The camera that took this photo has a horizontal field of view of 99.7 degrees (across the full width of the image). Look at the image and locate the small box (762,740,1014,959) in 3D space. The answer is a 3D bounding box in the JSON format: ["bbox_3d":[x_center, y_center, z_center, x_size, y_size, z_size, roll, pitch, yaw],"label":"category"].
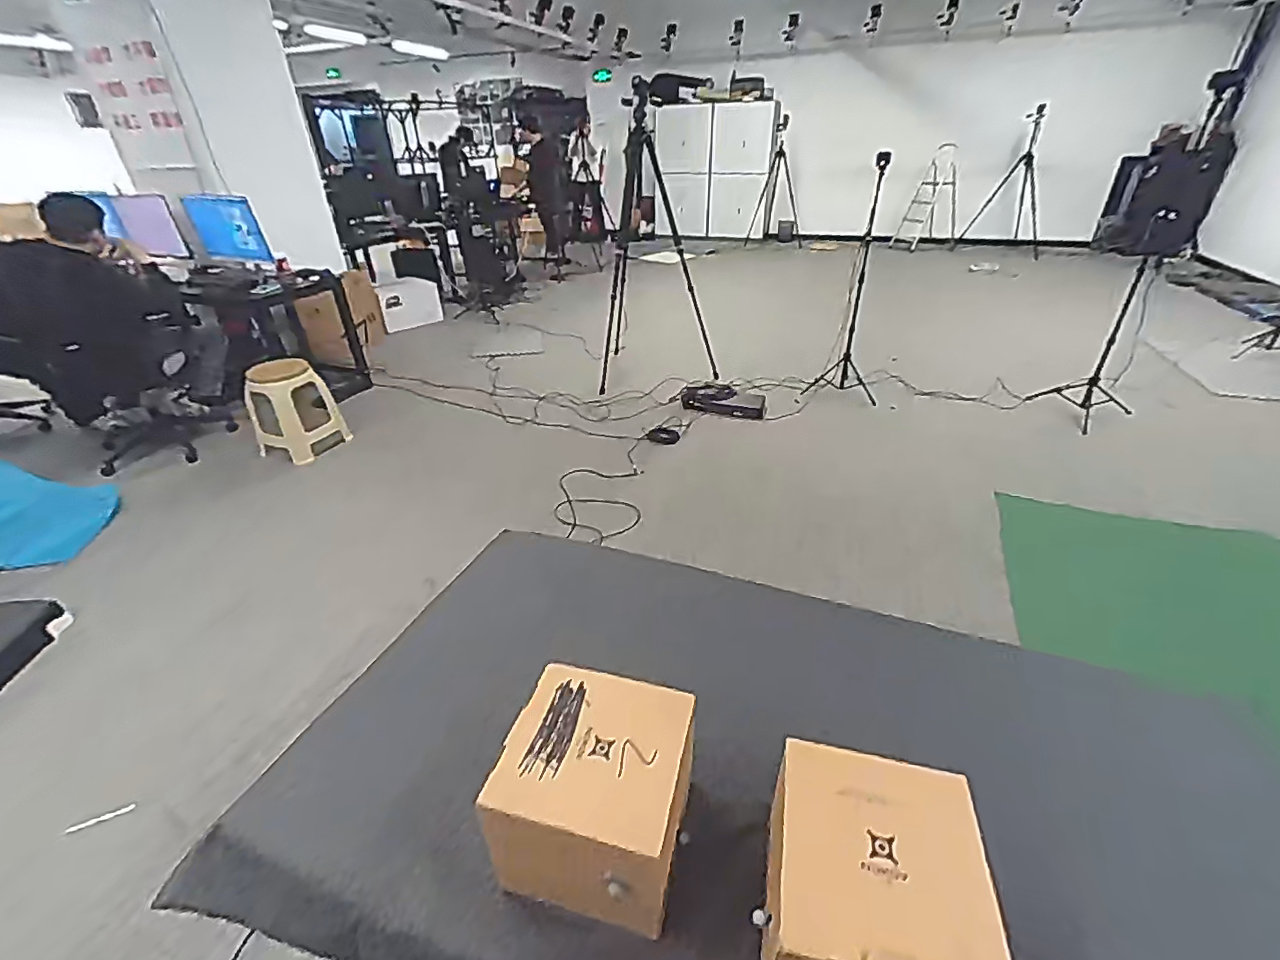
[{"bbox_3d":[0.206,0.380,0.491,0.168,0.176,0.179,7,31,12],"label":"small box"}]
